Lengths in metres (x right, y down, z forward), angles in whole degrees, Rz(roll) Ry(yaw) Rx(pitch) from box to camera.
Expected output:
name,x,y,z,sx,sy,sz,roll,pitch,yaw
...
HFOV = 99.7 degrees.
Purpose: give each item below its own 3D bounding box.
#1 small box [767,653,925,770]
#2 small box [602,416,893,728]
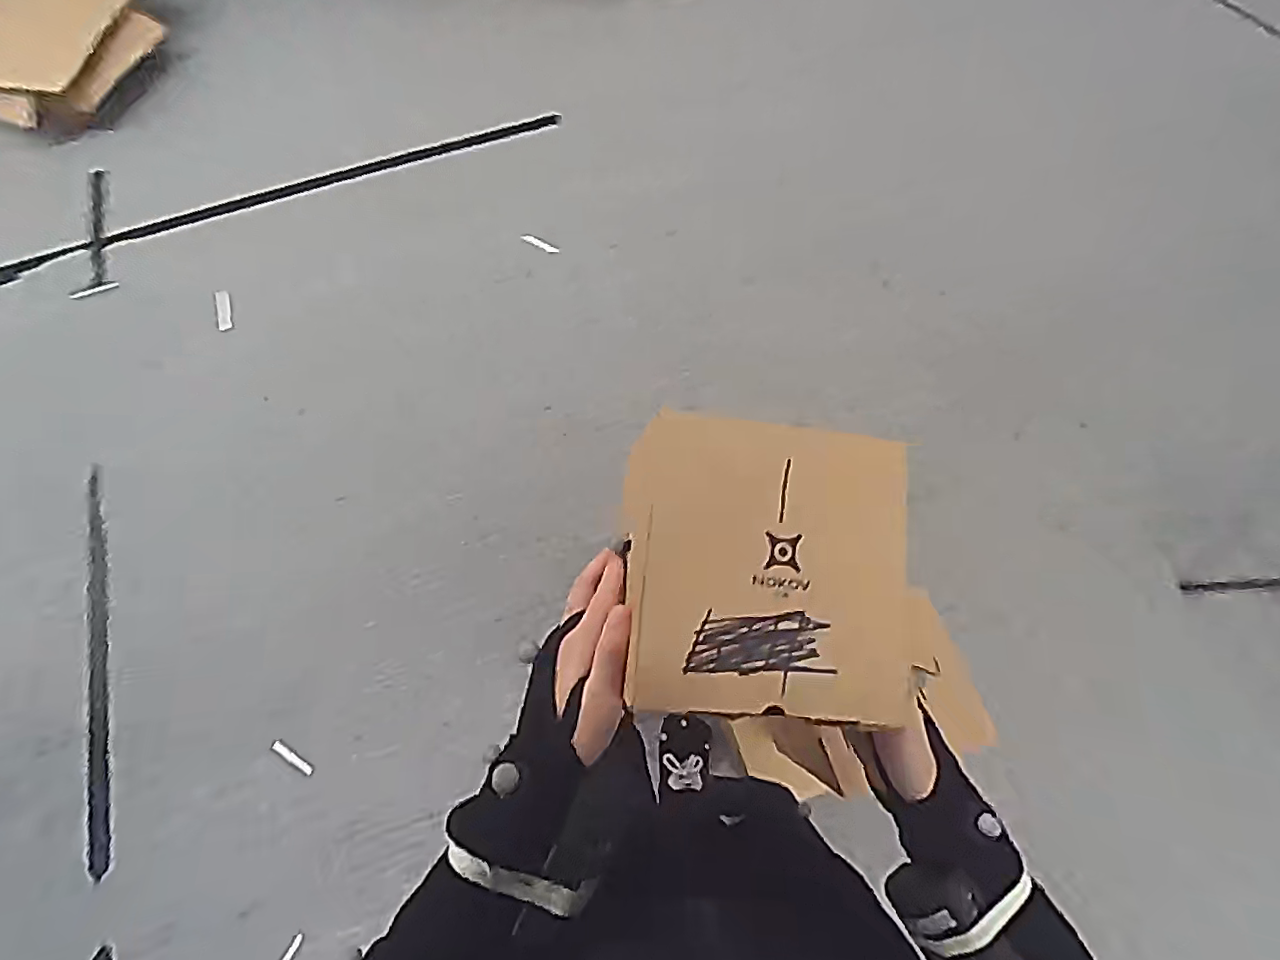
name,x,y,z,sx,sy,sz,roll,pitch,yaw
small box,0.271,0.300,0.801,0.179,0.176,0.168,-19,71,-3
small box,0.064,0.068,0.403,0.168,0.176,0.179,6,77,-8
